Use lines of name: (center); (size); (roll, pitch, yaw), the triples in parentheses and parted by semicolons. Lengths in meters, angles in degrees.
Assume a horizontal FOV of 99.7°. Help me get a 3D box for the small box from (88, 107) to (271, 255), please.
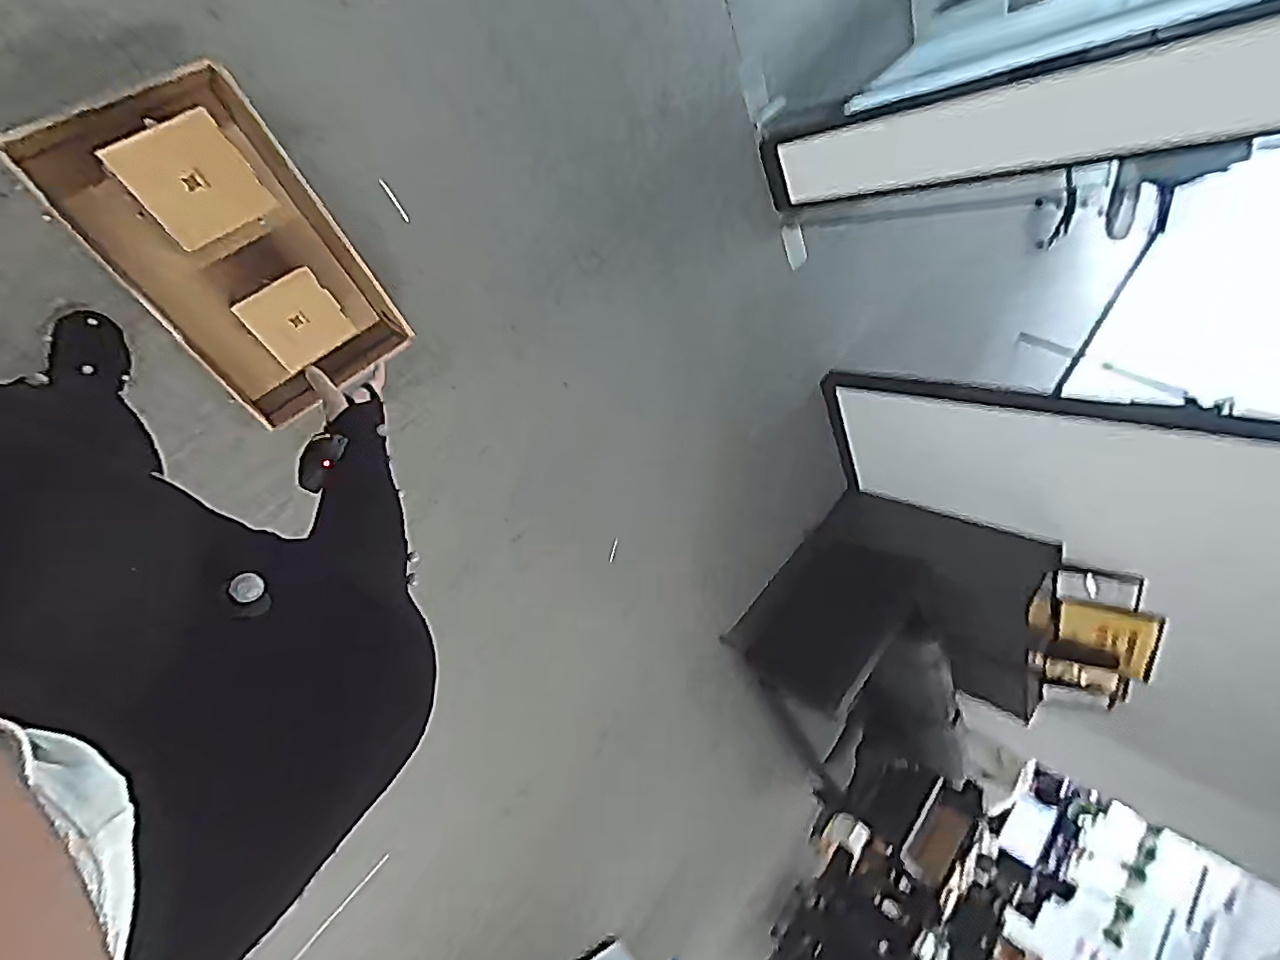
small box: (-0.799, -0.515, 0.953); (0.179, 0.176, 0.168); (-45, 129, -21)
